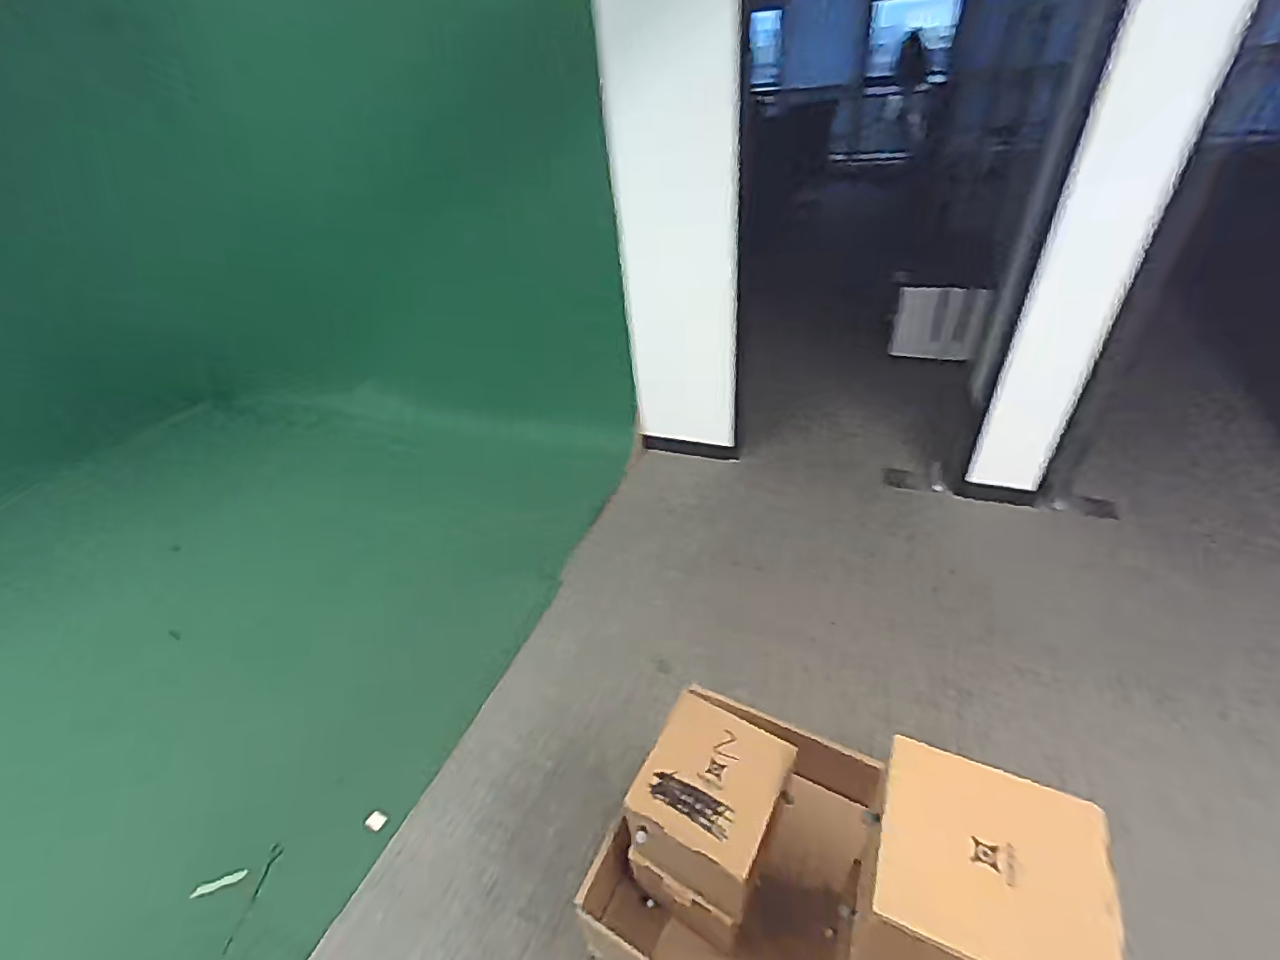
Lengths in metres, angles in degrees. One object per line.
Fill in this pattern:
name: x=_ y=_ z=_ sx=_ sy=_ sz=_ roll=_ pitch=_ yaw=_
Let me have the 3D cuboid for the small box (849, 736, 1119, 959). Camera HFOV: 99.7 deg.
small box: x=0.310 y=0.390 z=0.517 sx=0.179 sy=0.176 sz=0.168 roll=13 pitch=41 yaw=24
